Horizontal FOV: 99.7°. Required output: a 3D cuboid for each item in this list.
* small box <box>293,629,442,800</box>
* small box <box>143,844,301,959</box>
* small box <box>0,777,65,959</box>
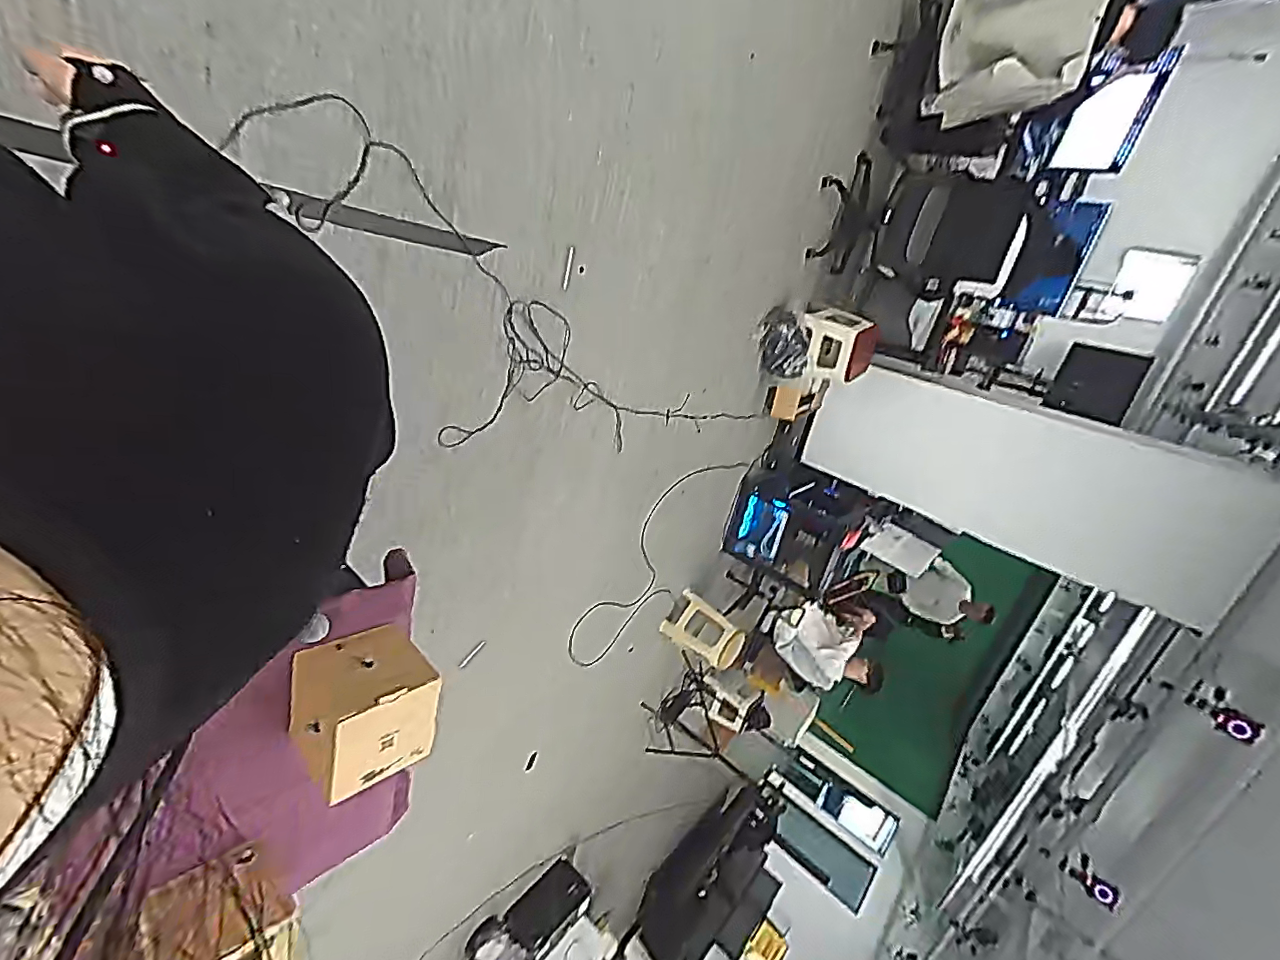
[{"bbox_3d":[-0.457,0.371,0.901,0.168,0.176,0.179,-10,121,-50],"label":"small box"},{"bbox_3d":[-0.673,0.735,0.870,0.168,0.176,0.179,-9,119,-50],"label":"small box"},{"bbox_3d":[-0.751,0.469,0.577,0.168,0.176,0.179,-13,125,-49],"label":"small box"}]
